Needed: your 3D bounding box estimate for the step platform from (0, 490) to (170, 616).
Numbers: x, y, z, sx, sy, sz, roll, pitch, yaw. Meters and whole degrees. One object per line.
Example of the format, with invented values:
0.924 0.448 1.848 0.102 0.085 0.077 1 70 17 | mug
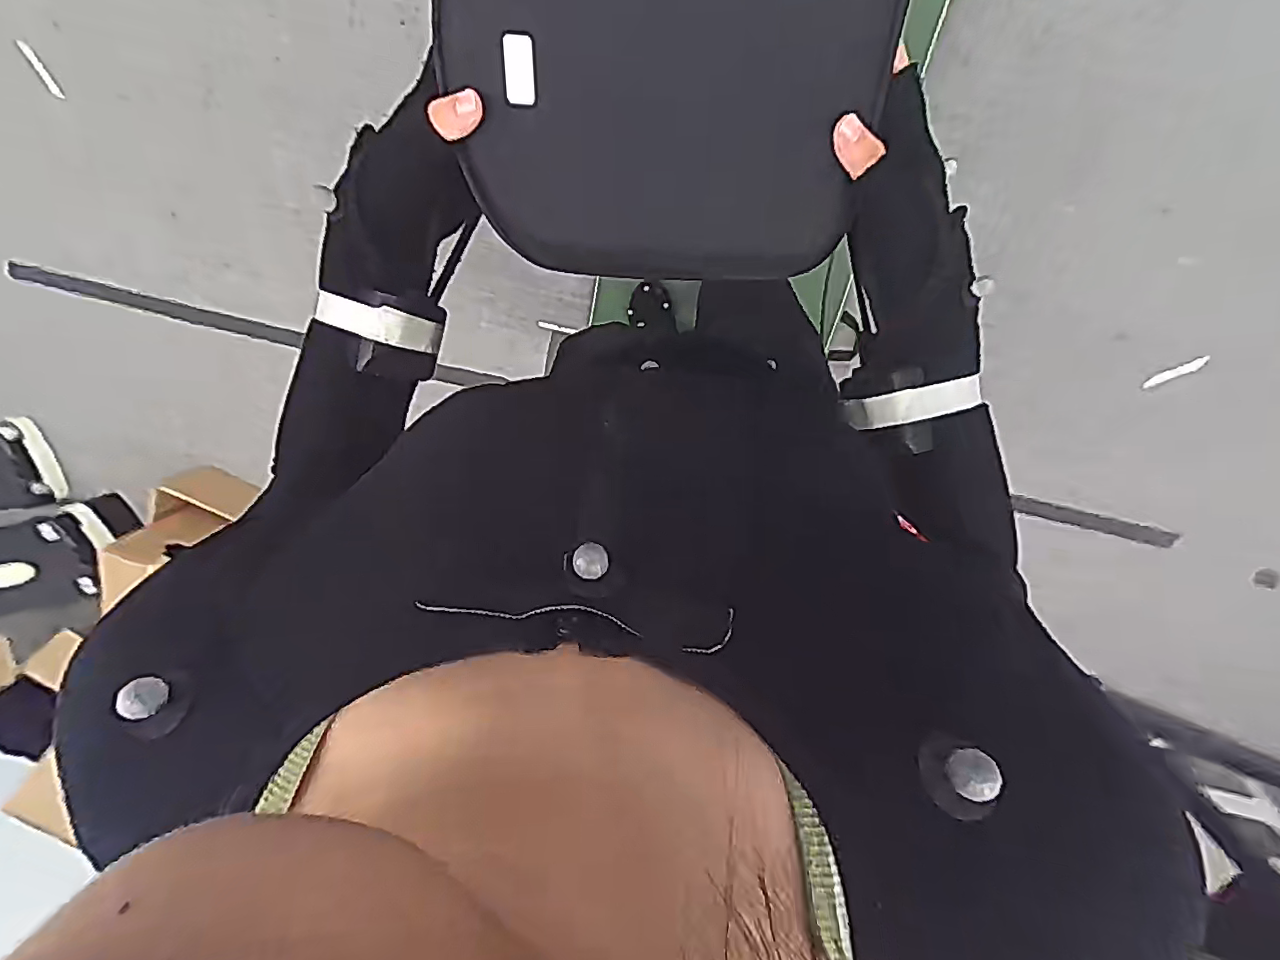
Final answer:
-1.990 0.257 1.824 0.684 0.204 0.286 -14 110 11 | step platform
